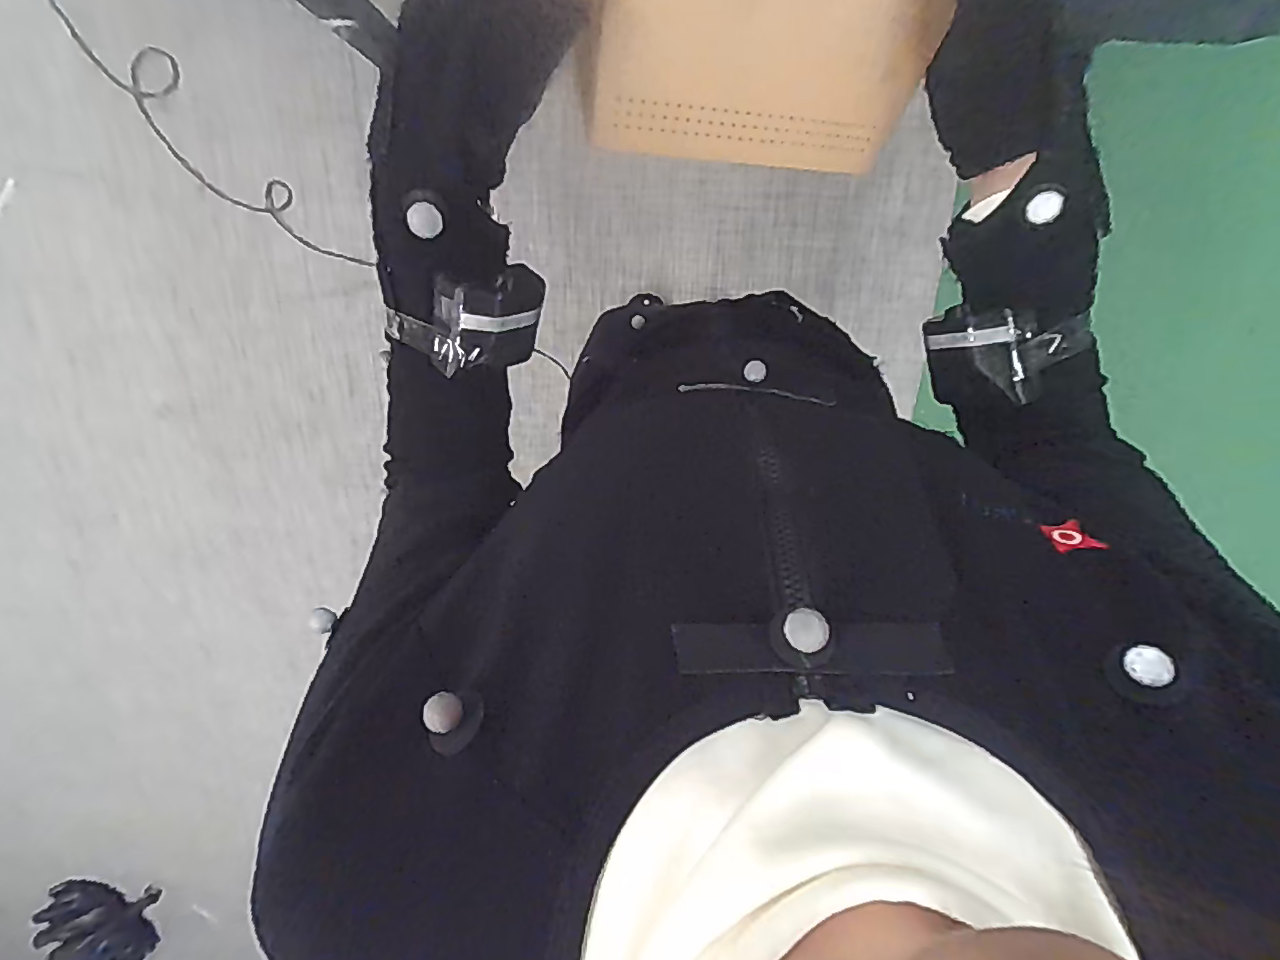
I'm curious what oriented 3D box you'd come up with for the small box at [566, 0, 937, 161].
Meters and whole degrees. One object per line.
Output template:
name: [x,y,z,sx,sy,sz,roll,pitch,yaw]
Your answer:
small box: [0.059,-0.304,0.295,0.179,0.168,0.176,-2,149,-14]
